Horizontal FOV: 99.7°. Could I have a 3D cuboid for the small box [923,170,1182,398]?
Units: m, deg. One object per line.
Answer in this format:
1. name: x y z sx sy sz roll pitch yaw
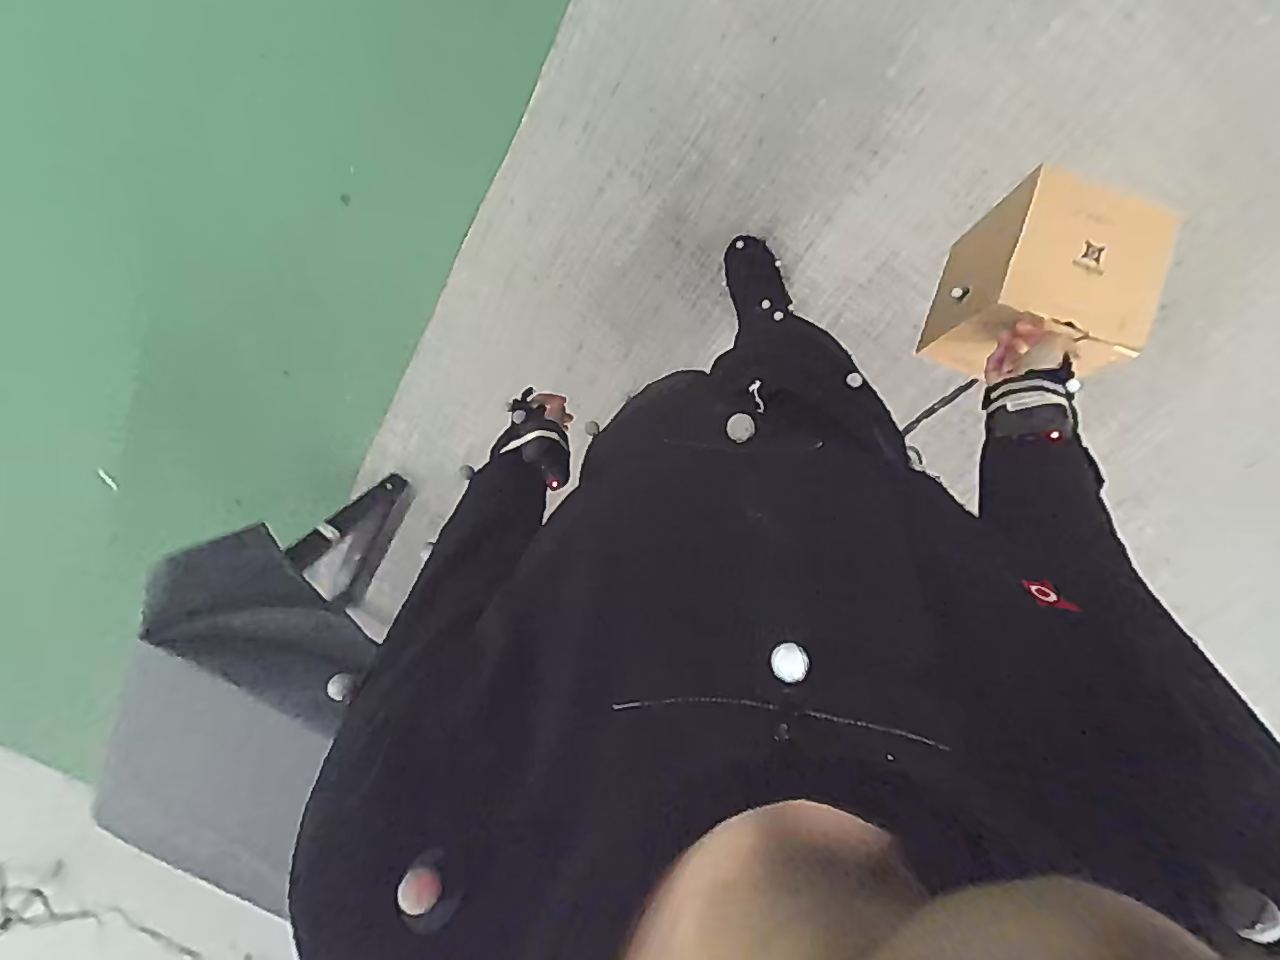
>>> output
1. small box: 0.481 -0.221 0.660 0.168 0.176 0.179 22 82 1
